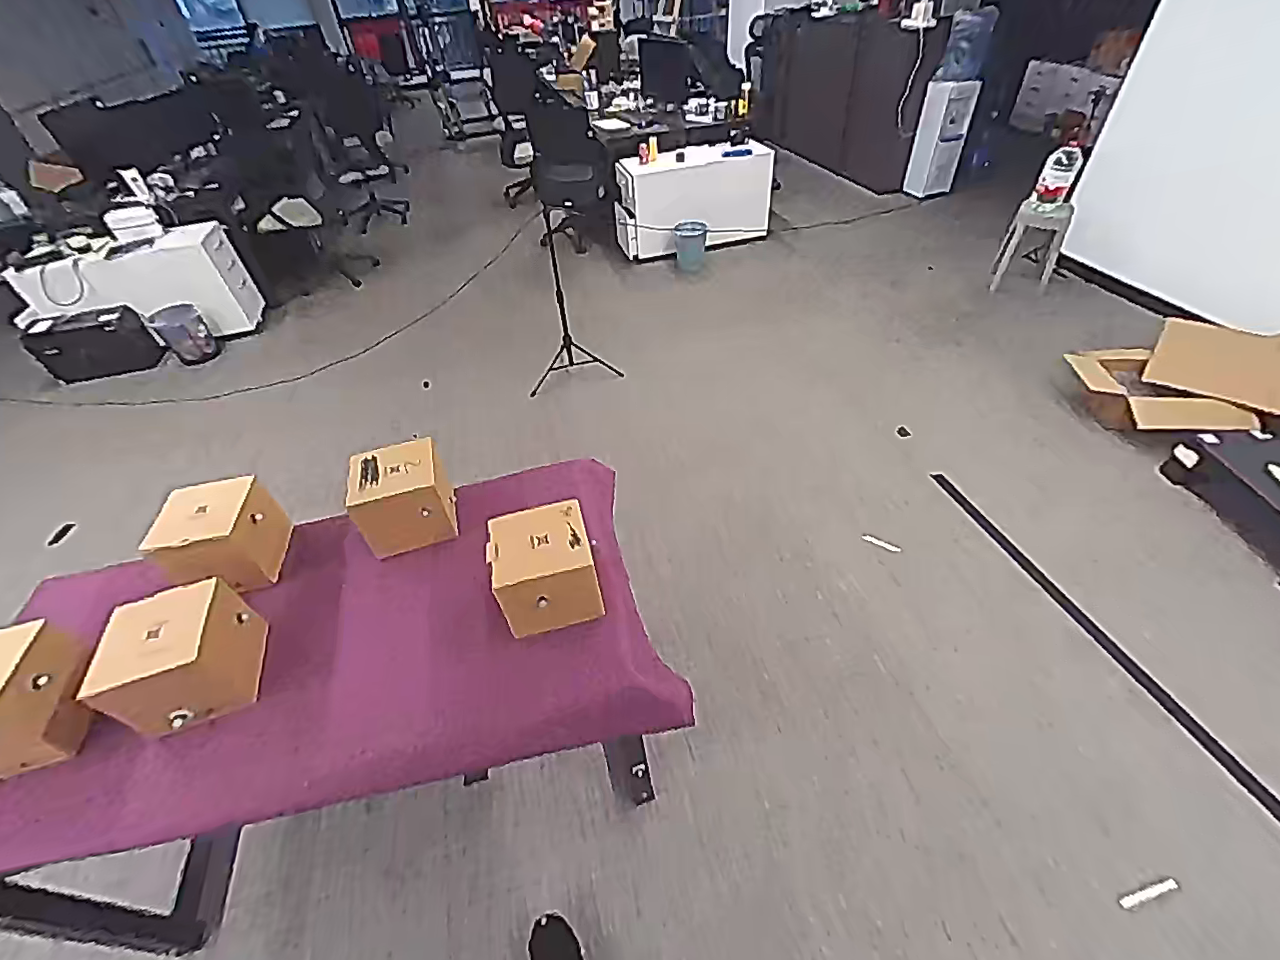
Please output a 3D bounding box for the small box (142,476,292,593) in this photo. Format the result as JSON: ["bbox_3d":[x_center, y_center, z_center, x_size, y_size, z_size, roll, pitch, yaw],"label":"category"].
[{"bbox_3d":[-0.871,0.122,1.138,0.168,0.176,0.179,-11,45,-7],"label":"small box"}]

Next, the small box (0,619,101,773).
[{"bbox_3d":[-1.052,0.369,0.901,0.168,0.176,0.179,-14,43,-10],"label":"small box"}]

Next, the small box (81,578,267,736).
[{"bbox_3d":[-0.788,0.308,0.942,0.168,0.176,0.179,-17,45,-11],"label":"small box"}]

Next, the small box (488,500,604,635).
[{"bbox_3d":[-0.176,0.170,1.024,0.179,0.176,0.168,-13,45,-6],"label":"small box"}]
